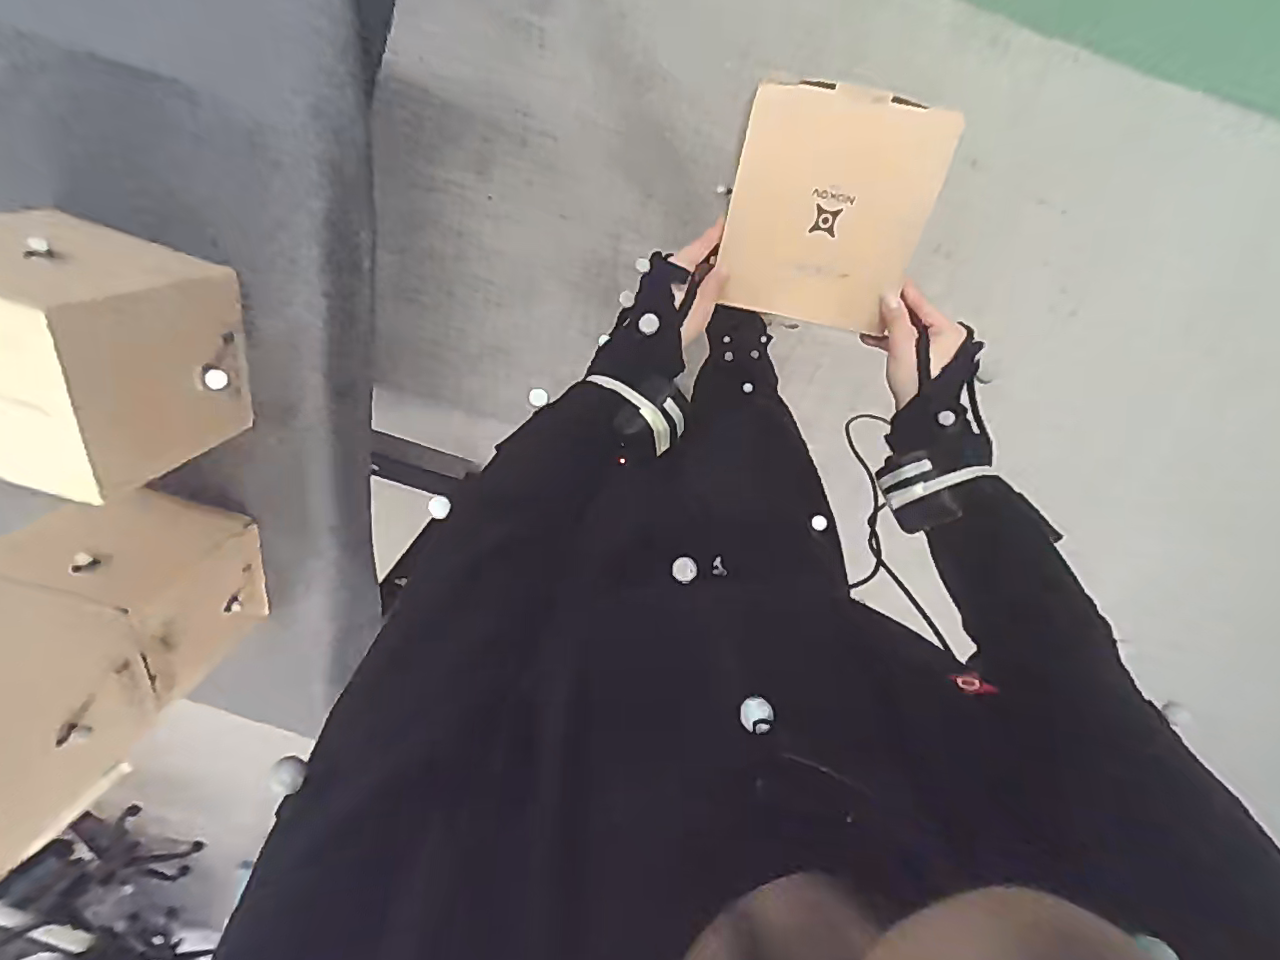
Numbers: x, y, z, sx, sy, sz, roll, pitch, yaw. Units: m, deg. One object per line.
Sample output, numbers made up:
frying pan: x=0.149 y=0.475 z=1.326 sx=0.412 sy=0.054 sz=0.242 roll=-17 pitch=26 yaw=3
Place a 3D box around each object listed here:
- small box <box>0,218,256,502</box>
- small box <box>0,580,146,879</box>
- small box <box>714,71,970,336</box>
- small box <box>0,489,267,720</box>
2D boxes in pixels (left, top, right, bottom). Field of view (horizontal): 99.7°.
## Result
small box: x=-0.475 y=-0.112 z=0.460 sx=0.179 sy=0.176 sz=0.168 roll=17 pitch=120 yaw=-2
small box: x=-0.583 y=0.205 z=0.466 sx=0.179 sy=0.176 sz=0.168 roll=14 pitch=119 yaw=-1
small box: x=0.167 y=-0.255 z=0.519 sx=0.168 sy=0.176 sz=0.179 roll=11 pitch=117 yaw=2
small box: x=-0.568 y=0.129 z=0.611 sx=0.179 sy=0.176 sz=0.168 roll=16 pitch=119 yaw=-1
